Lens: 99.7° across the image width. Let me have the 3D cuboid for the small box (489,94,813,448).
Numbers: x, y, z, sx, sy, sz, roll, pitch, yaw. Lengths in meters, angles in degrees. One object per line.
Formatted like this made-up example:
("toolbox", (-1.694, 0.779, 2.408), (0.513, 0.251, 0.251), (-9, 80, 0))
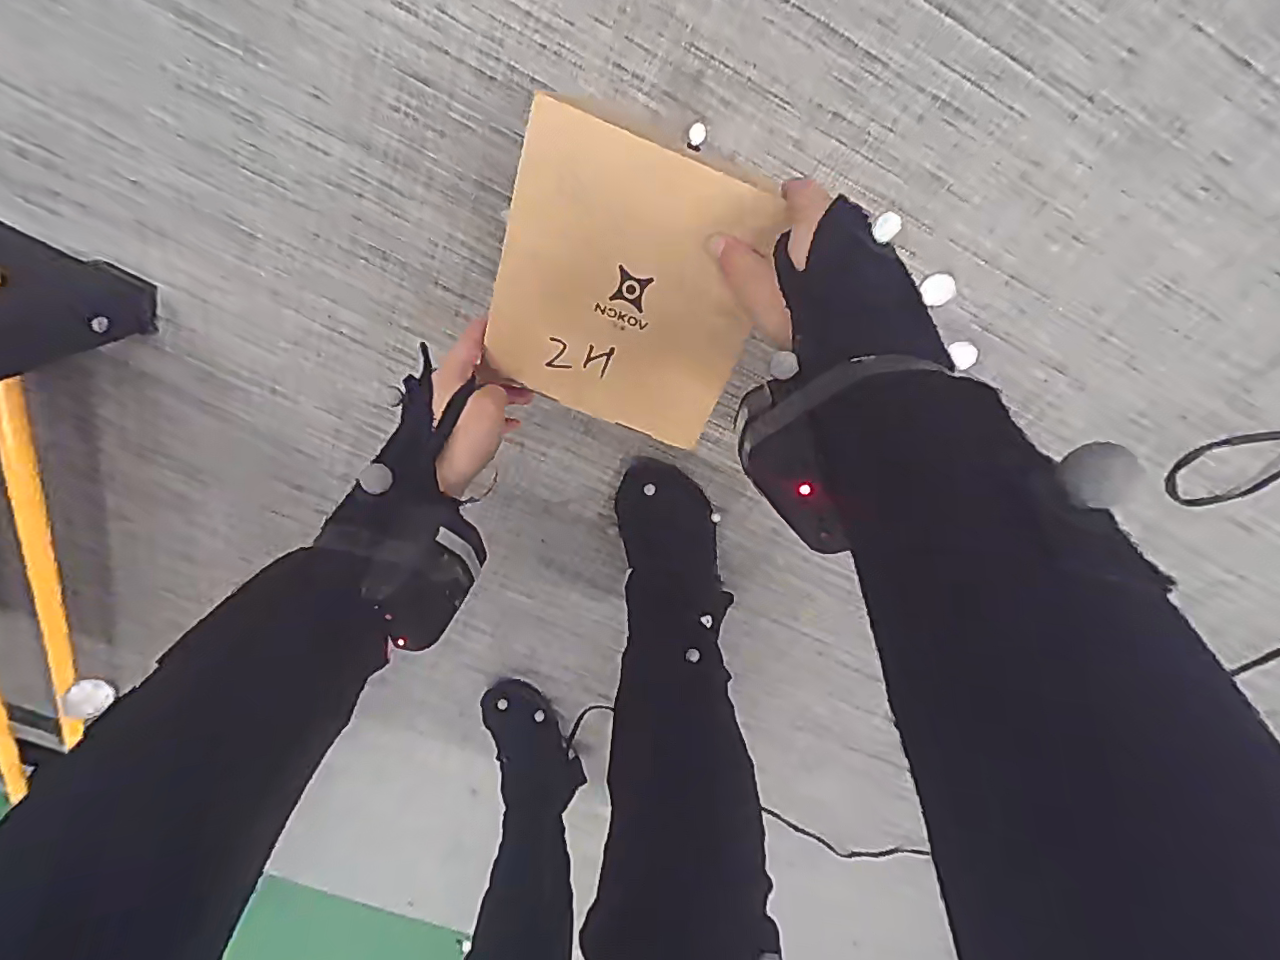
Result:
("small box", (0.005, -0.160, 0.415), (0.168, 0.176, 0.179), (20, 123, -5))
